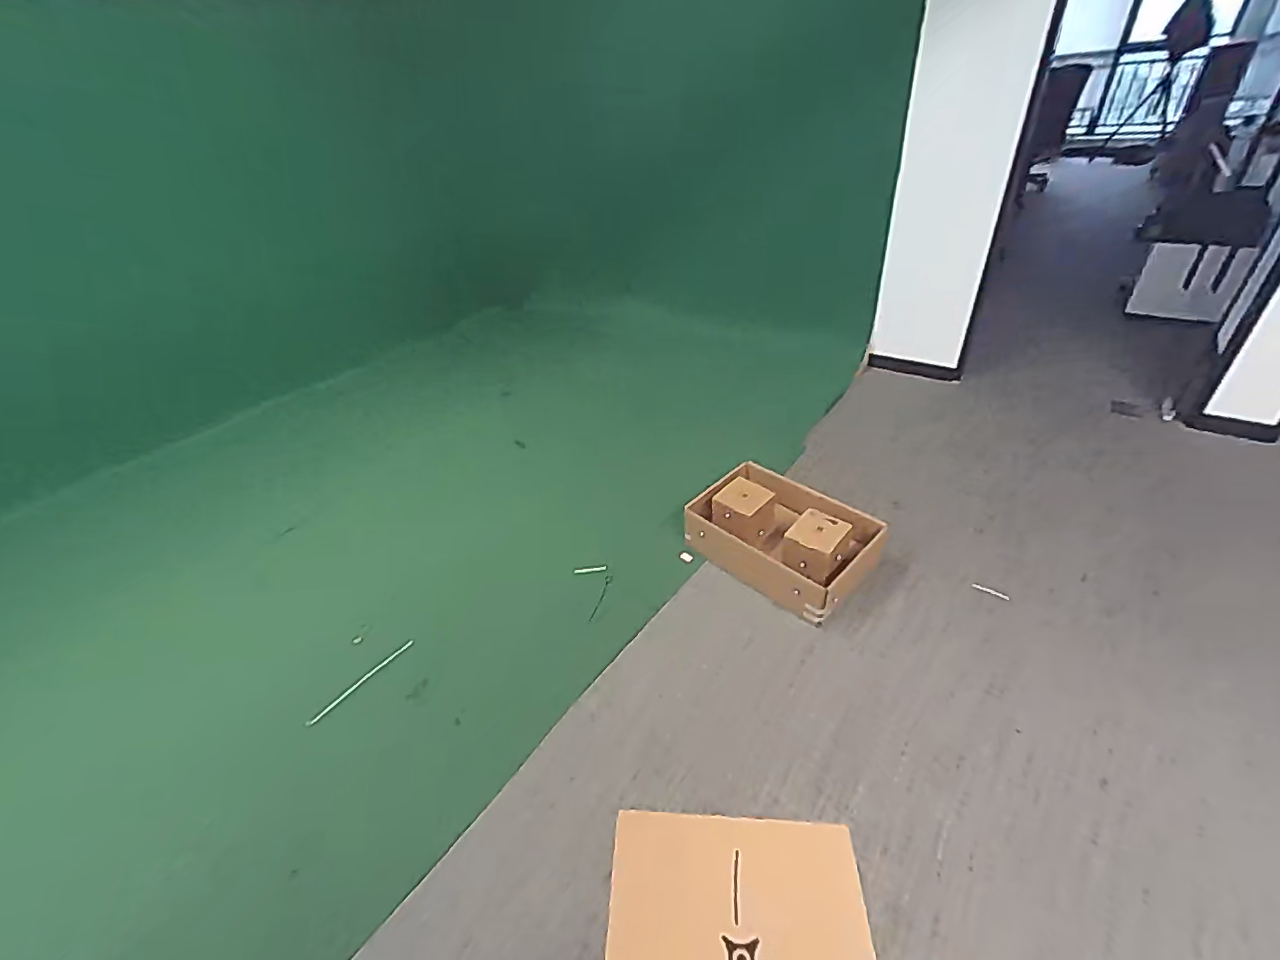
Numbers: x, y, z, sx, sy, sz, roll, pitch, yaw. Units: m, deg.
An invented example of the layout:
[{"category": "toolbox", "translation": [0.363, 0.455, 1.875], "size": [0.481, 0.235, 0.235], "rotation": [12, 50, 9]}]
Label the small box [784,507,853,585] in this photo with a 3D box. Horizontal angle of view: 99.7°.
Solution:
[{"category": "small box", "translation": [0.618, 0.232, 1.877], "size": [0.168, 0.176, 0.179], "rotation": [25, 49, 36]}]
